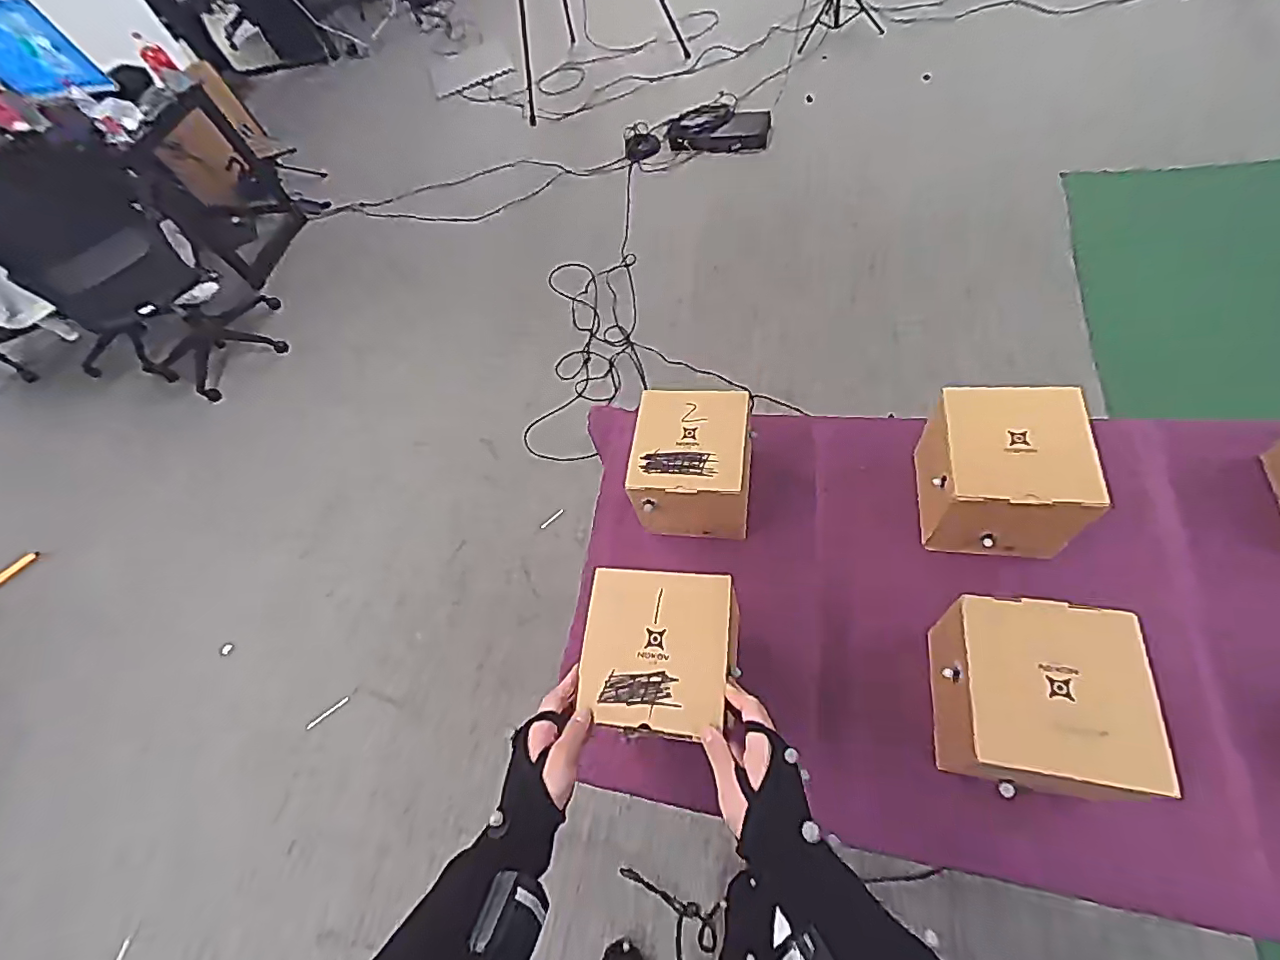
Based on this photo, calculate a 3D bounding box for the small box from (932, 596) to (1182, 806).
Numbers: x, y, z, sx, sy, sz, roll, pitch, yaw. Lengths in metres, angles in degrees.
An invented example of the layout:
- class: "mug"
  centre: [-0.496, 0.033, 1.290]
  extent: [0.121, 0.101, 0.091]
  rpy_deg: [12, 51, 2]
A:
- class: "small box"
  centre: [0.442, 0.251, 0.613]
  extent: [0.168, 0.176, 0.179]
  rpy_deg: [5, 61, 16]

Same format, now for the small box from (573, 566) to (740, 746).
- class: "small box"
  centre: [0.034, 0.220, 0.664]
  extent: [0.168, 0.176, 0.179]
  rpy_deg: [2, 63, 14]

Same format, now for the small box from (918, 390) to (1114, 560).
- class: "small box"
  centre: [0.500, -0.005, 0.753]
  extent: [0.168, 0.176, 0.179]
  rpy_deg: [3, 62, 14]
